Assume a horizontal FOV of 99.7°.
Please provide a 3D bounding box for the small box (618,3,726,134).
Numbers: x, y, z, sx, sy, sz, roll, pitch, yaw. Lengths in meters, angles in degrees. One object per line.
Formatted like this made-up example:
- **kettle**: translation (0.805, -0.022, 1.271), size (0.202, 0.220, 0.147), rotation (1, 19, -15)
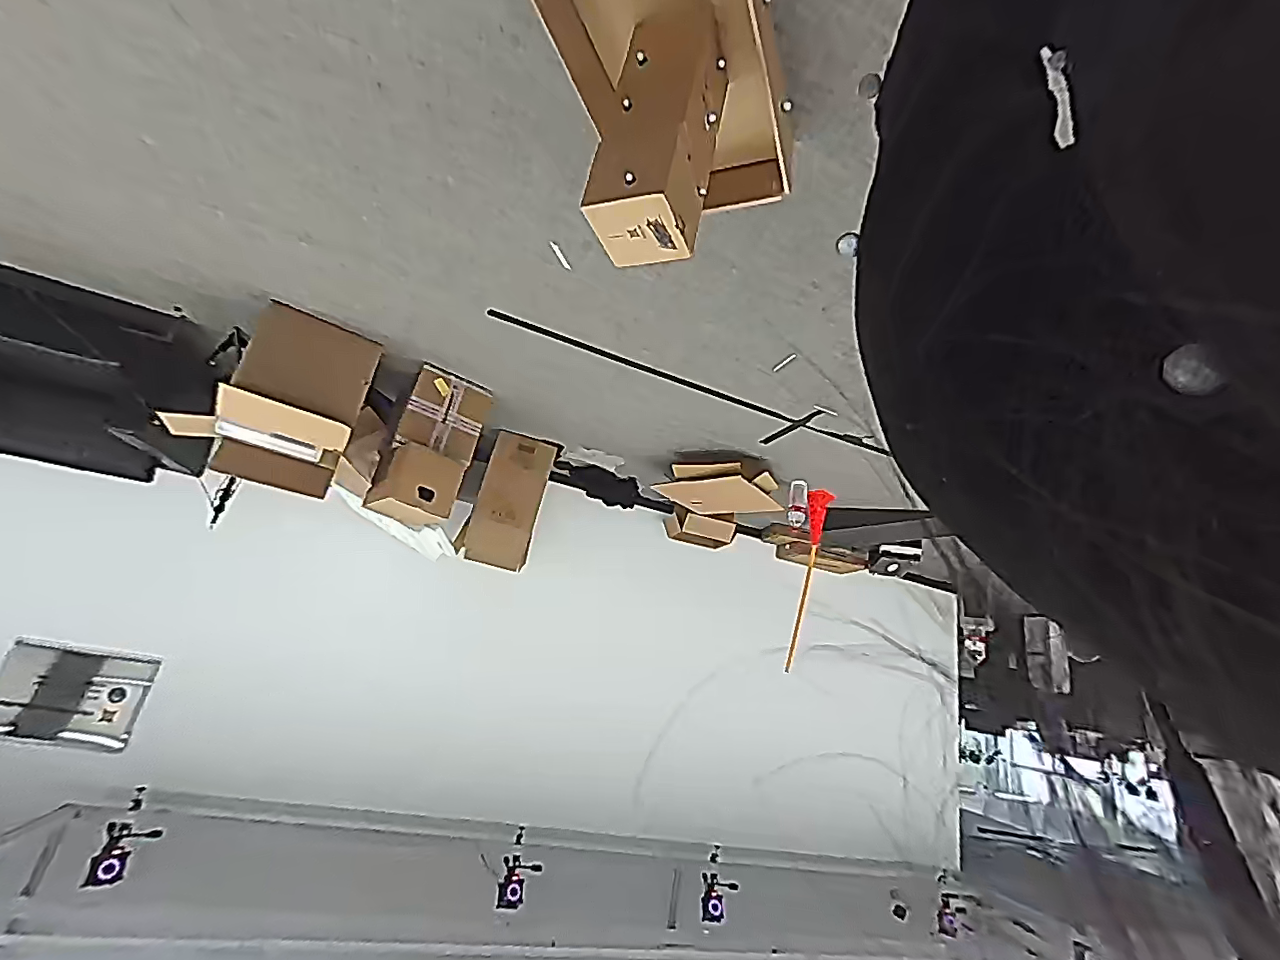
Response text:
- **small box**: translation (0.075, -0.863, 1.159), size (0.179, 0.176, 0.168), rotation (3, 161, 22)

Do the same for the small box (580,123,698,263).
- **small box**: translation (0.008, -0.559, 1.060), size (0.179, 0.176, 0.168), rotation (4, 161, 25)

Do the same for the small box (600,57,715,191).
- **small box**: translation (0.043, -0.712, 1.108), size (0.179, 0.176, 0.168), rotation (2, 161, 24)
